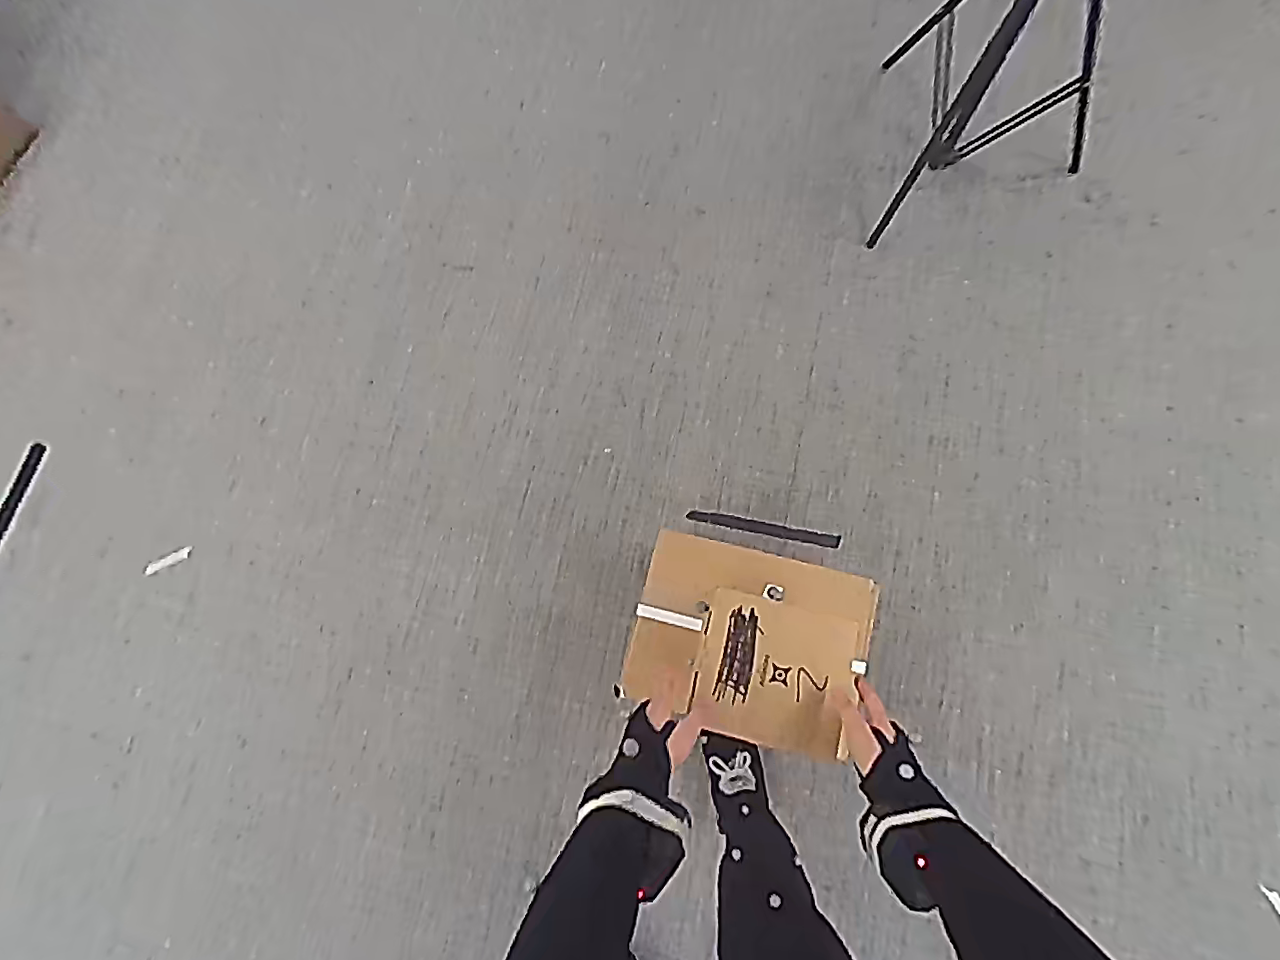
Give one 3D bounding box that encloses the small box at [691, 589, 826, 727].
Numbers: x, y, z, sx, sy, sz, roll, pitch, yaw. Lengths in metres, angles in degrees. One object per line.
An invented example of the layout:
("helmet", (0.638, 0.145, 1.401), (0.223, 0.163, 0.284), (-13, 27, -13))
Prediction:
("small box", (0.182, 0.277, 0.875), (0.179, 0.176, 0.168), (11, 80, 7))
